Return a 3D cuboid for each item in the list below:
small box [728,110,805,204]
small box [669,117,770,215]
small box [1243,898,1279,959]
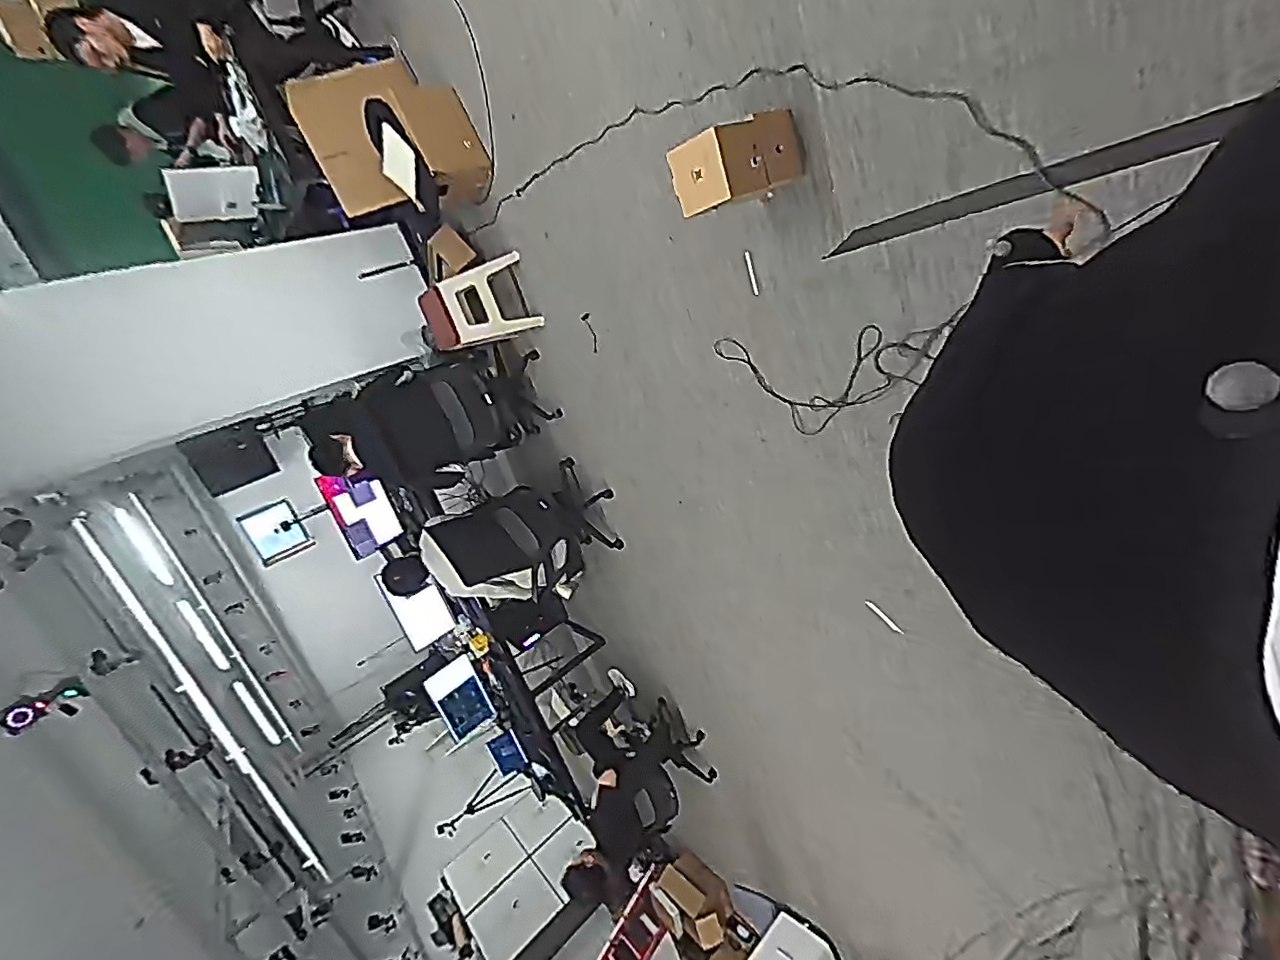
[{"bbox_3d":[0.329,-0.898,1.499,0.168,0.176,0.179,3,119,53],"label":"small box"},{"bbox_3d":[0.210,-0.821,1.419,0.179,0.176,0.168,6,122,51],"label":"small box"},{"bbox_3d":[1.132,0.859,0.895,0.168,0.176,0.179,1,114,56],"label":"small box"}]
